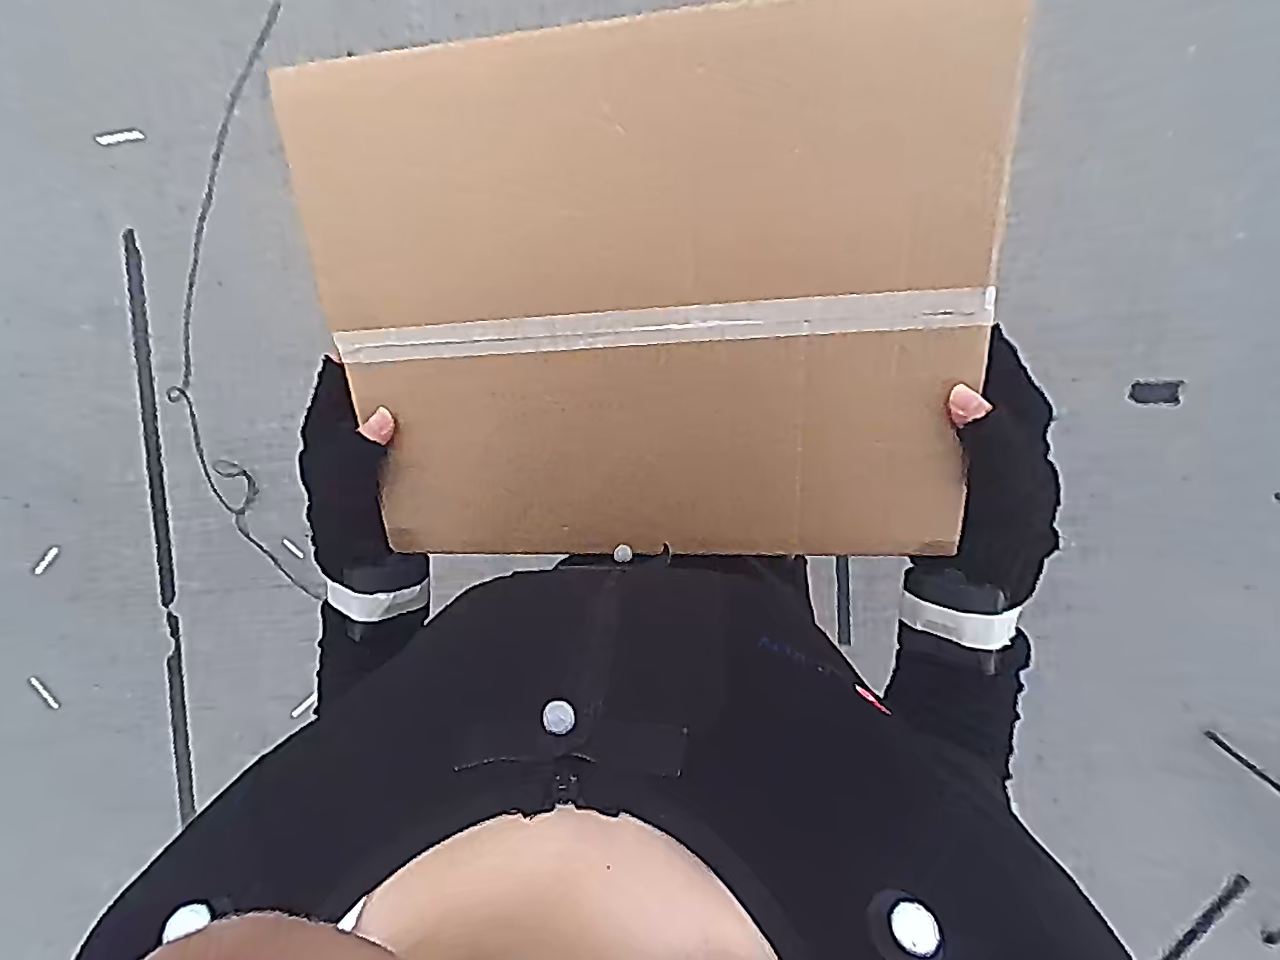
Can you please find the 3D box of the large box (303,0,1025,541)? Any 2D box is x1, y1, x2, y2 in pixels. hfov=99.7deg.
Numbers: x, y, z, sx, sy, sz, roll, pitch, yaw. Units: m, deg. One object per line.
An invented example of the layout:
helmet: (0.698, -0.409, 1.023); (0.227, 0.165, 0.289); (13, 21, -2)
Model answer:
large box: (0.021, -0.152, 0.480); (0.408, 0.320, 0.320); (-1, 111, 8)
